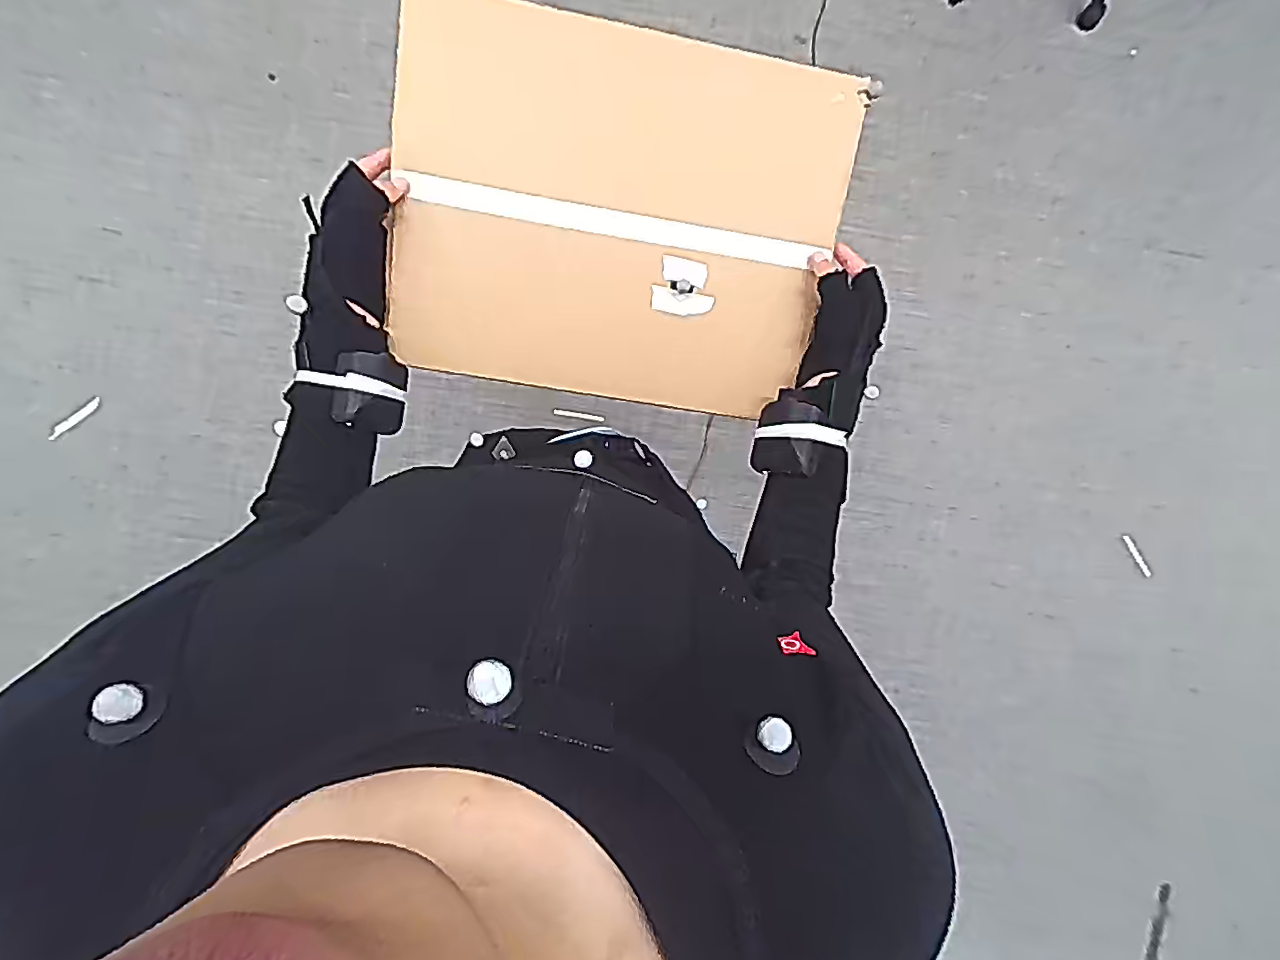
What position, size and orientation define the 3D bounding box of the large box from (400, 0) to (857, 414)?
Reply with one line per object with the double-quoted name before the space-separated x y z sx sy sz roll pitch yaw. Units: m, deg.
"large box" -0.028 -0.274 0.654 0.408 0.320 0.320 8 104 -6
